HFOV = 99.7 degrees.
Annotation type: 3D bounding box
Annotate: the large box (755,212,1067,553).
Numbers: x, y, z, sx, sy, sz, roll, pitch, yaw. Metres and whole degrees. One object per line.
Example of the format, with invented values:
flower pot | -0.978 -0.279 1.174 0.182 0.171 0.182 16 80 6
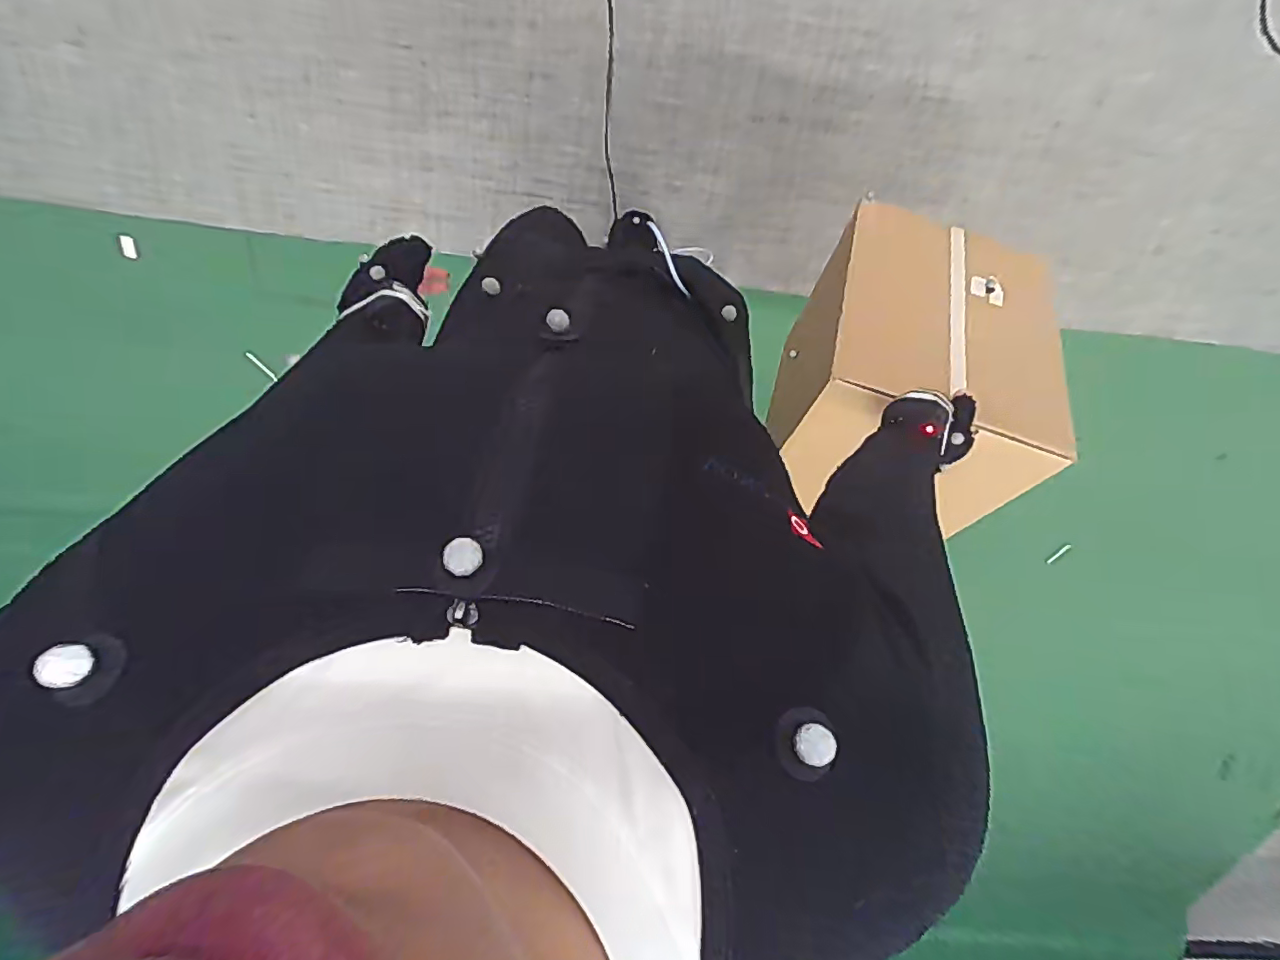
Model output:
large box | 0.412 -0.150 0.892 0.320 0.408 0.320 20 149 0
